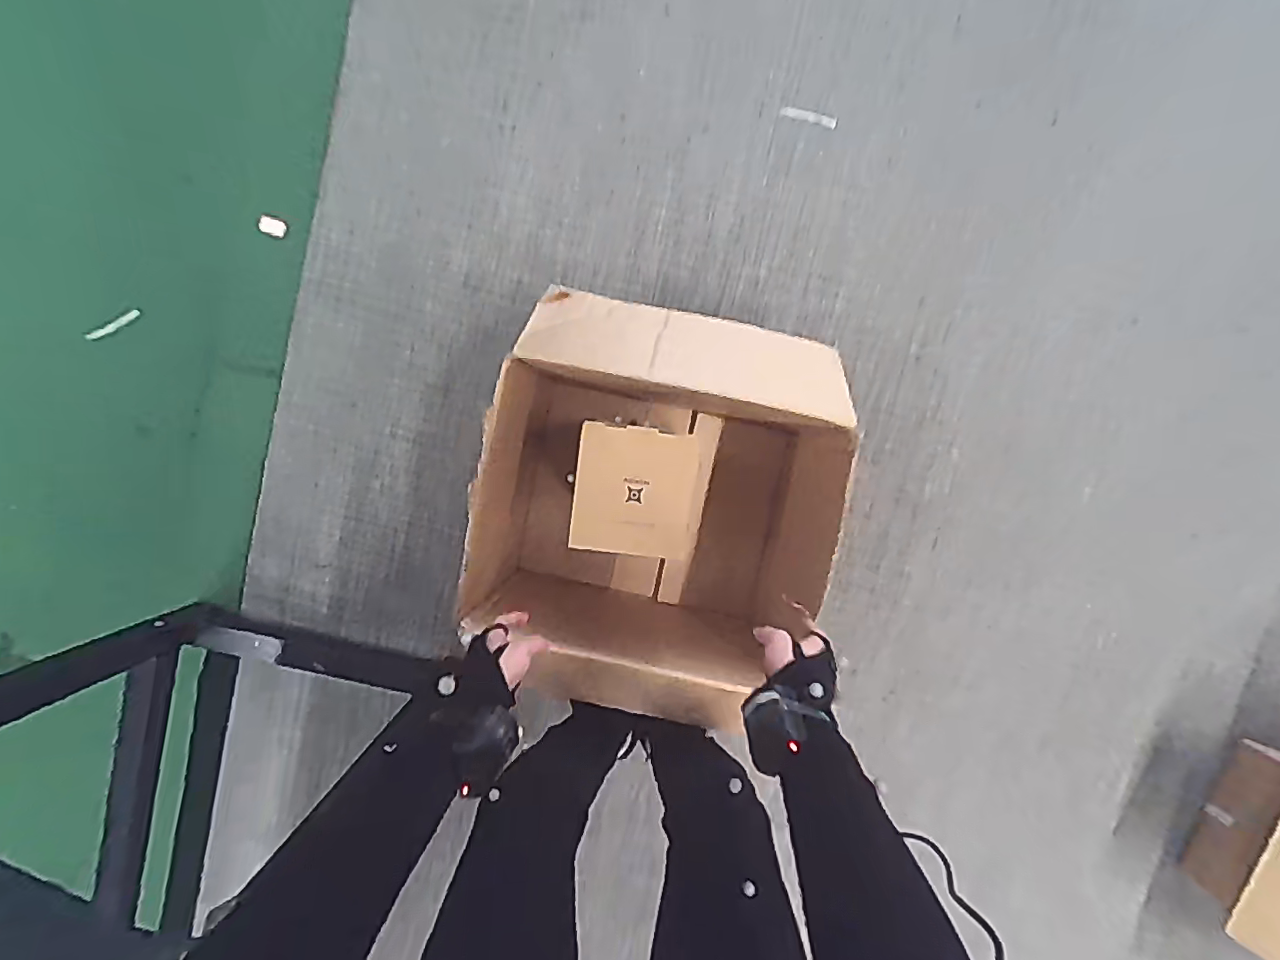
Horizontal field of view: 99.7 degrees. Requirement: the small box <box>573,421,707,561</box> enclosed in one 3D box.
[{"bbox_3d":[-0.003,0.010,0.809,0.168,0.176,0.179,7,95,-2],"label":"small box"}]
